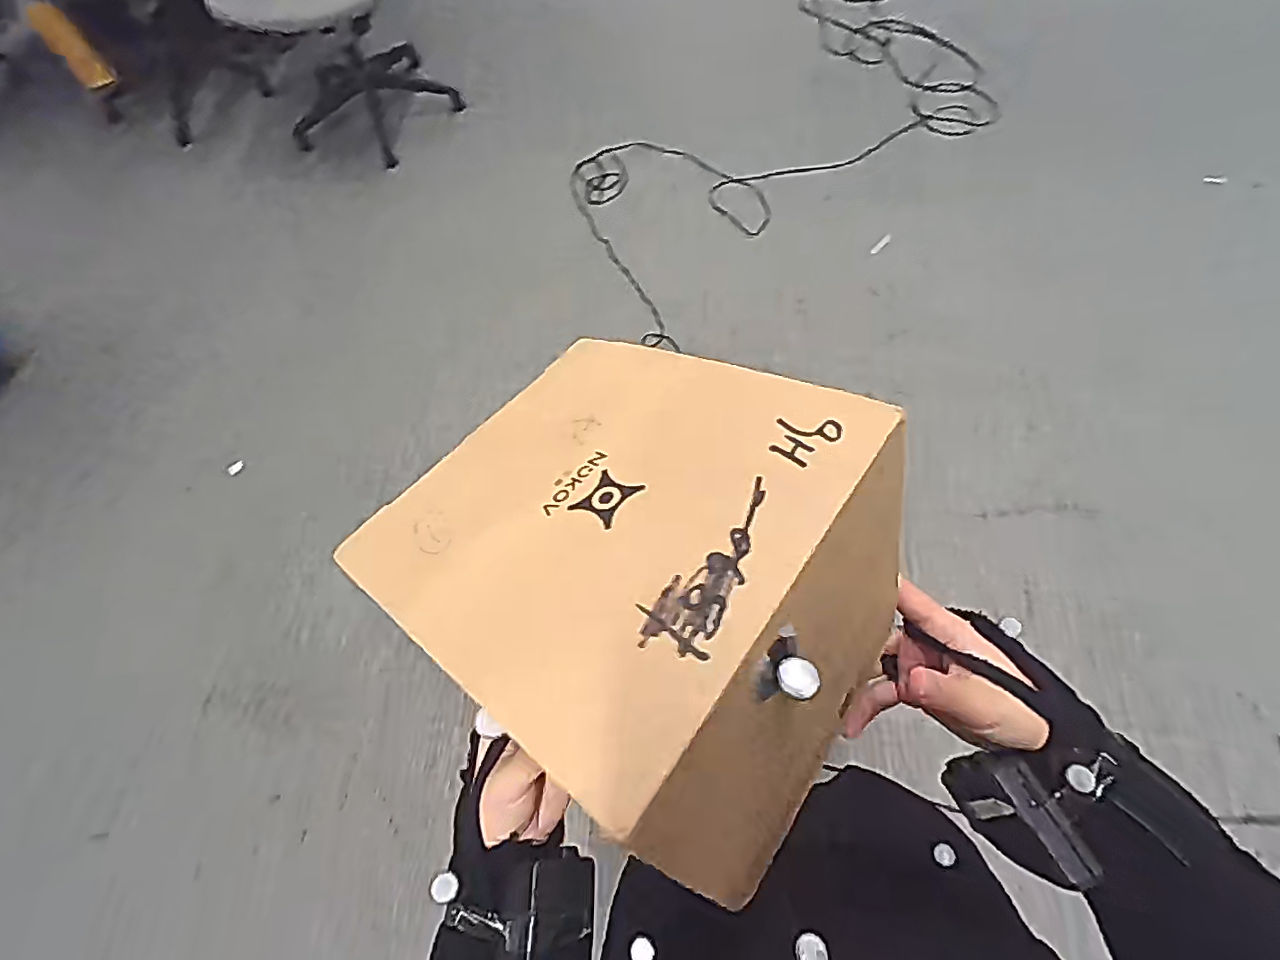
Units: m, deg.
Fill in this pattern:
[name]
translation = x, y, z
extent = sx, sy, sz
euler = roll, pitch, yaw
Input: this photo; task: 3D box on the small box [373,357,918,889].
[small box]
translation = 0.015, 0.065, 0.275
extent = 0.179, 0.176, 0.168
euler = 22, 61, 37
